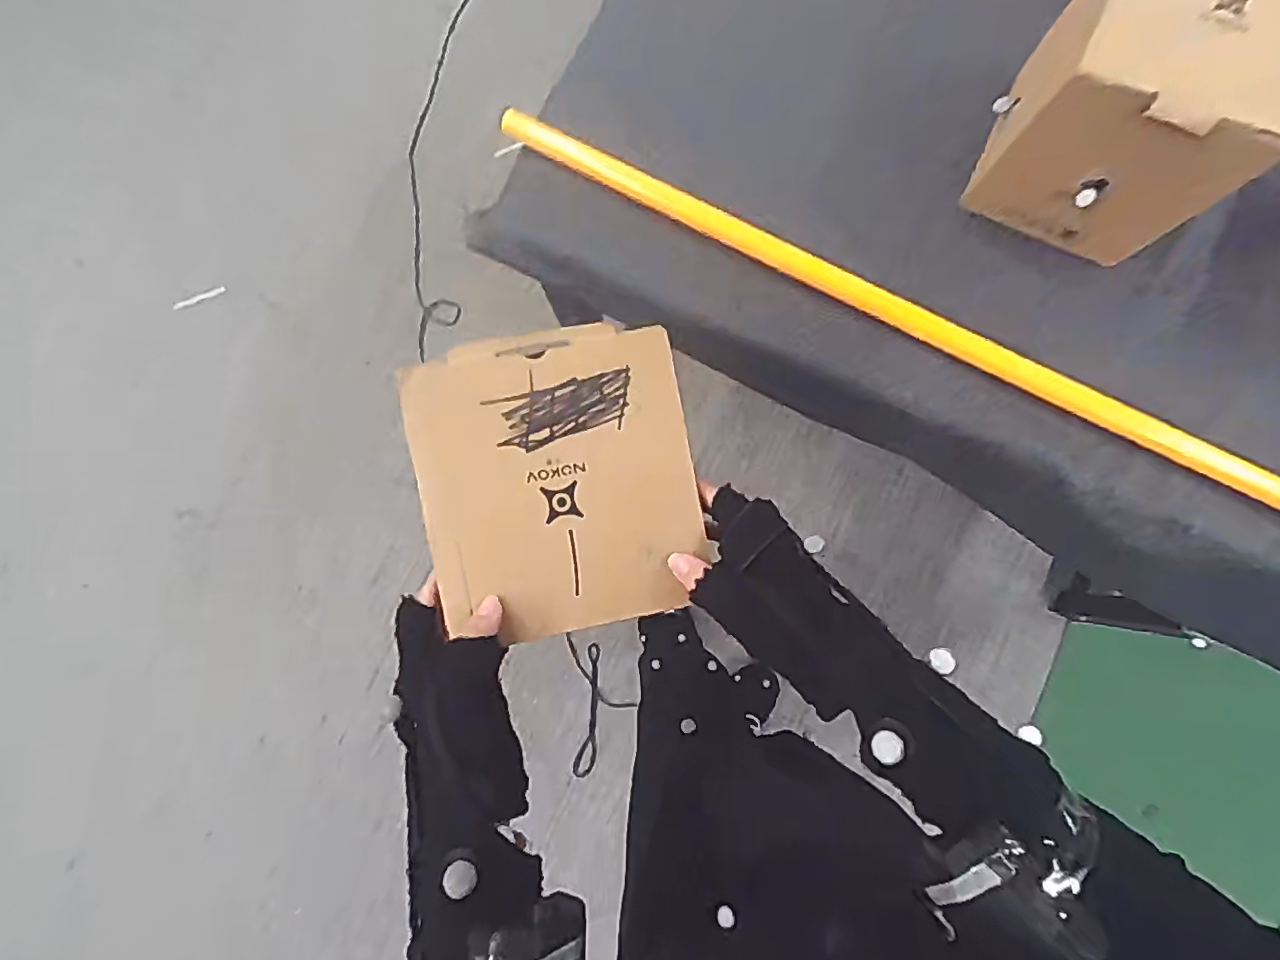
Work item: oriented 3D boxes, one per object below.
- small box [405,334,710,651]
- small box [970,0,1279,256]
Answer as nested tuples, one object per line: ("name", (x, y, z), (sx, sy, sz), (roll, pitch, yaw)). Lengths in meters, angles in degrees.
("small box", (-0.057, 0.007, 0.415), (0.168, 0.176, 0.179), (-11, 91, -5))
("small box", (0.437, -0.338, 0.486), (0.168, 0.176, 0.179), (23, 84, 7))
